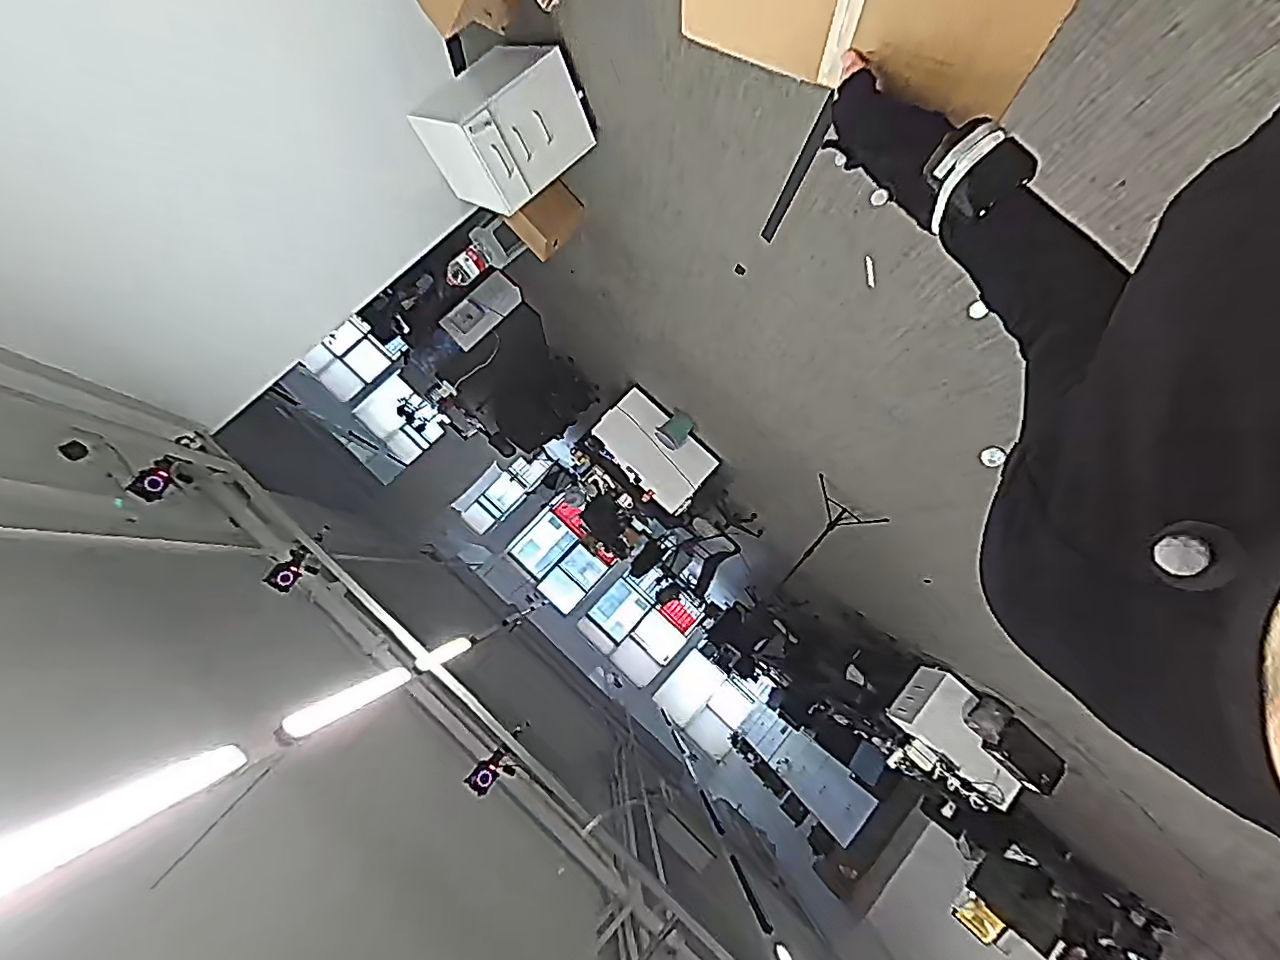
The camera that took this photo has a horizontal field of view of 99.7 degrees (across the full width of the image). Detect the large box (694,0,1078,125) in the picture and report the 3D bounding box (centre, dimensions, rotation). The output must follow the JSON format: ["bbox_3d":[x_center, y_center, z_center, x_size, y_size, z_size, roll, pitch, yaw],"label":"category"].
[{"bbox_3d":[0.246,-0.567,0.360,0.320,0.320,0.408,27,168,10],"label":"large box"}]
